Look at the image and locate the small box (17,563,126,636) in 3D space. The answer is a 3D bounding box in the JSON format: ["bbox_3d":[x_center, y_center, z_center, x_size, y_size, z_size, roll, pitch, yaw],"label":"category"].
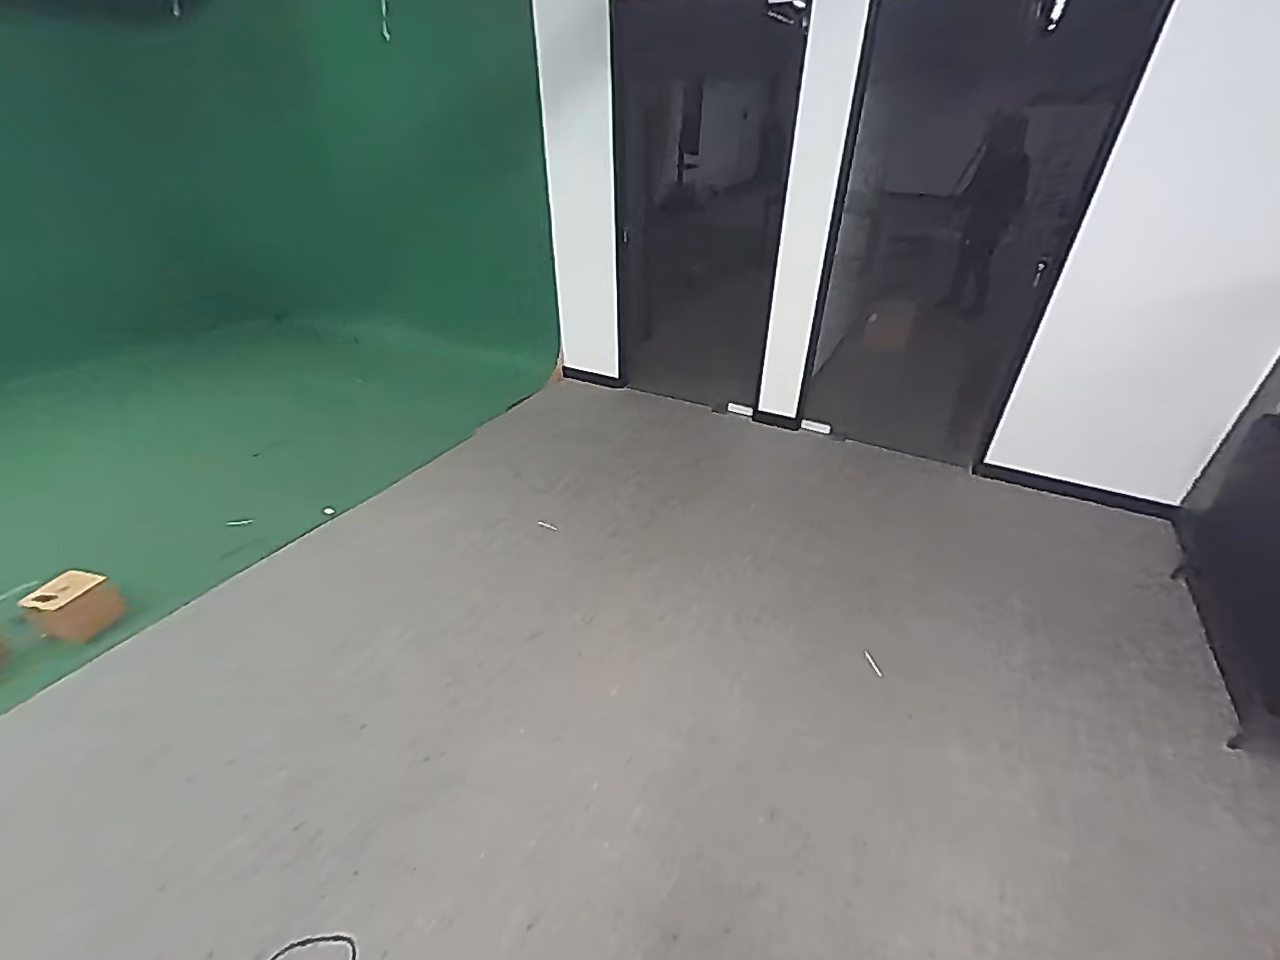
[{"bbox_3d":[-1.994,0.424,1.908,0.168,0.176,0.179,9,34,11],"label":"small box"}]
